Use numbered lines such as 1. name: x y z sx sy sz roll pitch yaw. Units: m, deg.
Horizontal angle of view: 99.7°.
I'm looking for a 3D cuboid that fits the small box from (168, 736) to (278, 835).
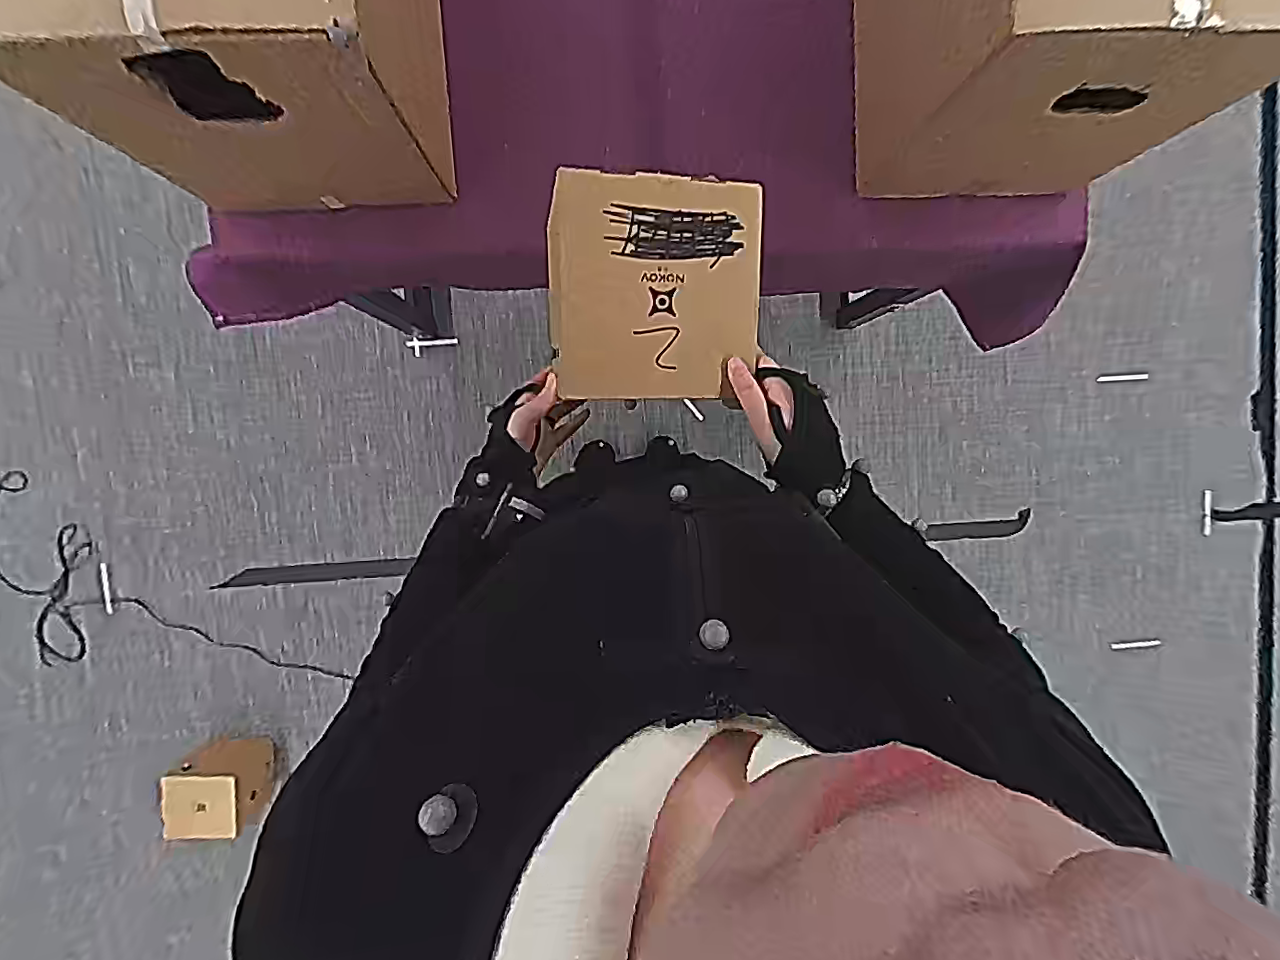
1. small box: -1.090 0.800 1.429 0.179 0.176 0.168 2 96 -3
